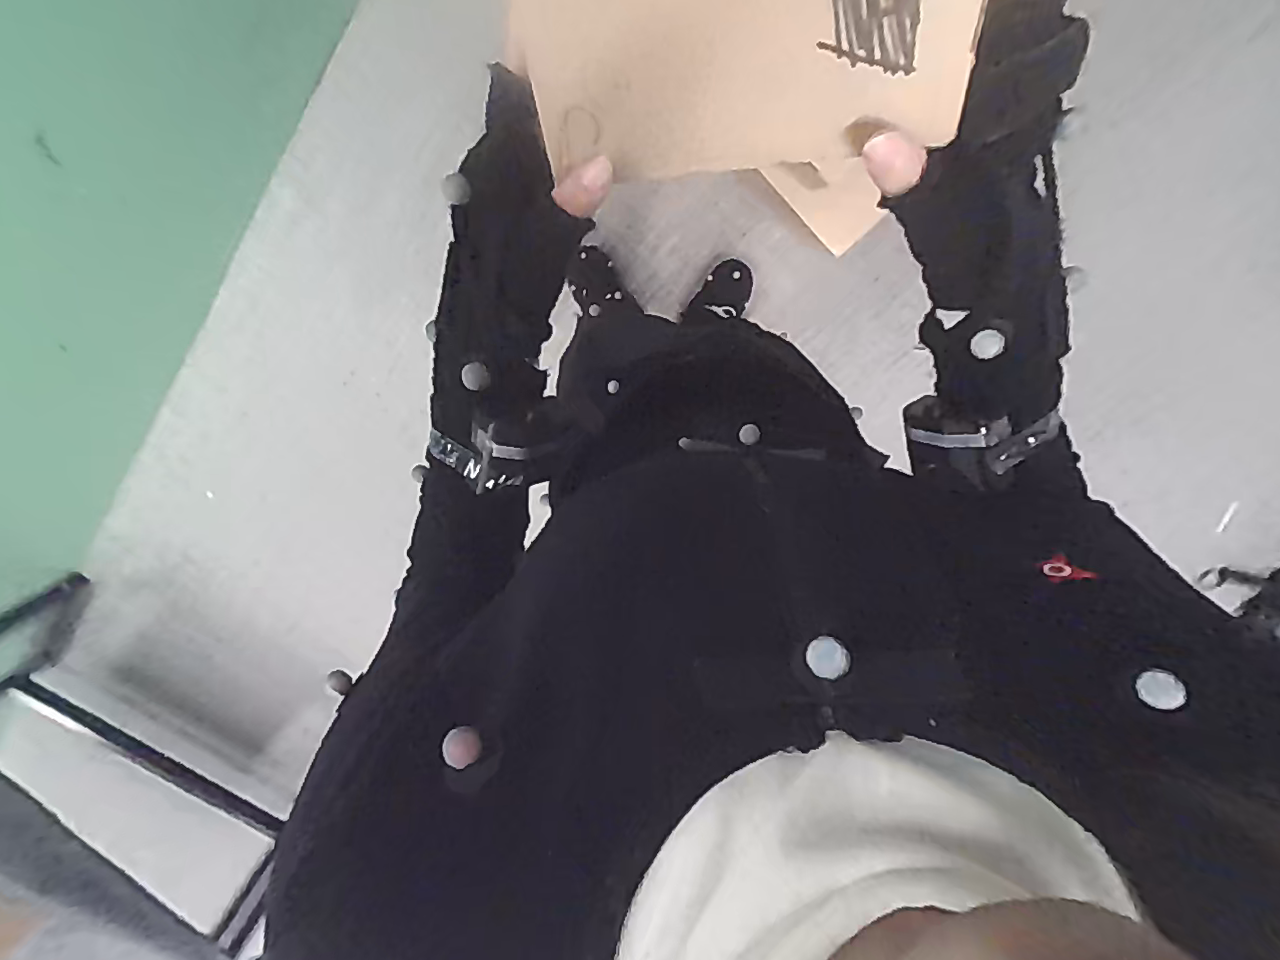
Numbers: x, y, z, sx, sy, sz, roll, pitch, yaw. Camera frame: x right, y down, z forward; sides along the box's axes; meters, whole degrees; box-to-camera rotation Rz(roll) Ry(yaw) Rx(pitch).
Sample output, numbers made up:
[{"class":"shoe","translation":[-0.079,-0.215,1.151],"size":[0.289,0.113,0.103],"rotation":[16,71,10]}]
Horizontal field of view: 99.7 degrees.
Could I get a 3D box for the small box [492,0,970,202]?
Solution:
[{"class":"small box","translation":[0.036,-0.249,0.238],"size":[0.179,0.176,0.168],"rotation":[-1,139,11]}]
